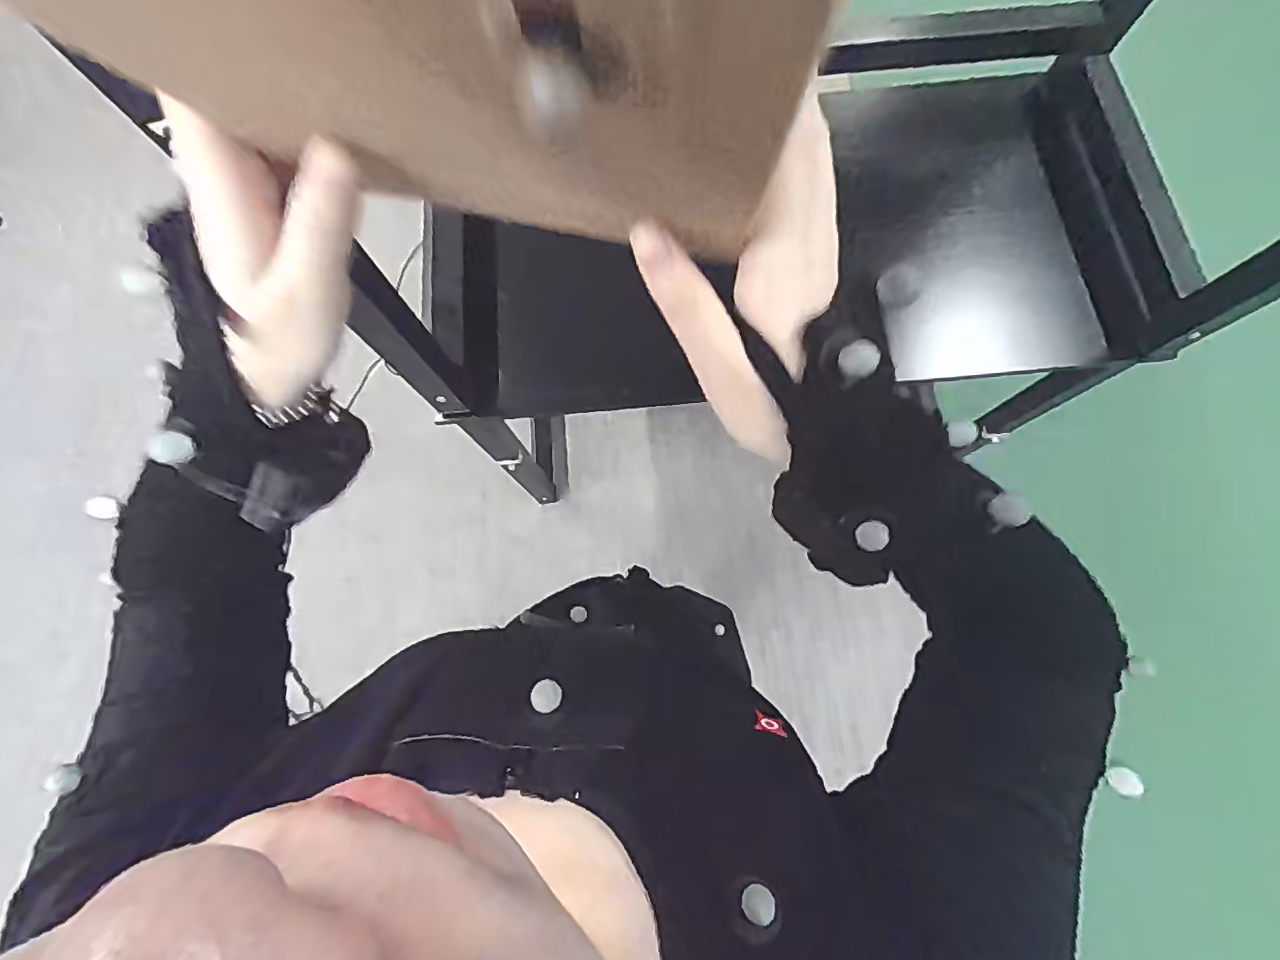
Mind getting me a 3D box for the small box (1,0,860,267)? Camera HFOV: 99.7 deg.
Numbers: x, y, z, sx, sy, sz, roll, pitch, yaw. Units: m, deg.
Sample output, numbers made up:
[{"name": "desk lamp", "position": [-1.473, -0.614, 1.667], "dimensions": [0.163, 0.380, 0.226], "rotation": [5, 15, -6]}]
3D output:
[{"name": "small box", "position": [-0.035, -0.163, 0.134], "dimensions": [0.179, 0.176, 0.168], "rotation": [12, 102, 2]}]
